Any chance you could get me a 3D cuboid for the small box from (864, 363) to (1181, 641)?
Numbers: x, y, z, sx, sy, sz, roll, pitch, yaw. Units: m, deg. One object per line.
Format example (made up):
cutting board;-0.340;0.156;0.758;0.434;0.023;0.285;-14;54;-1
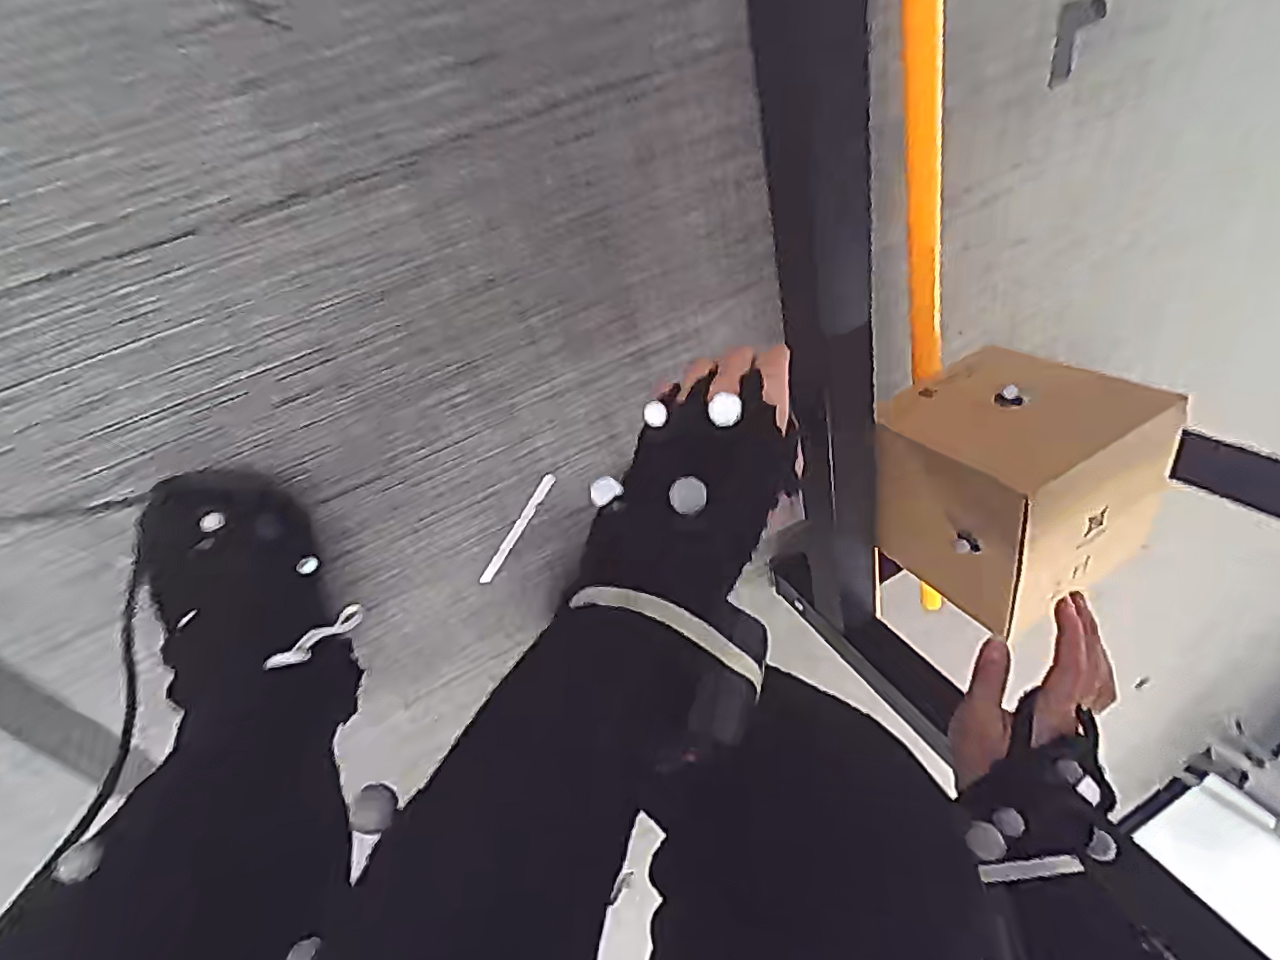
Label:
small box;0.333;0.006;0.508;0.168;0.176;0.179;-26;125;-10
